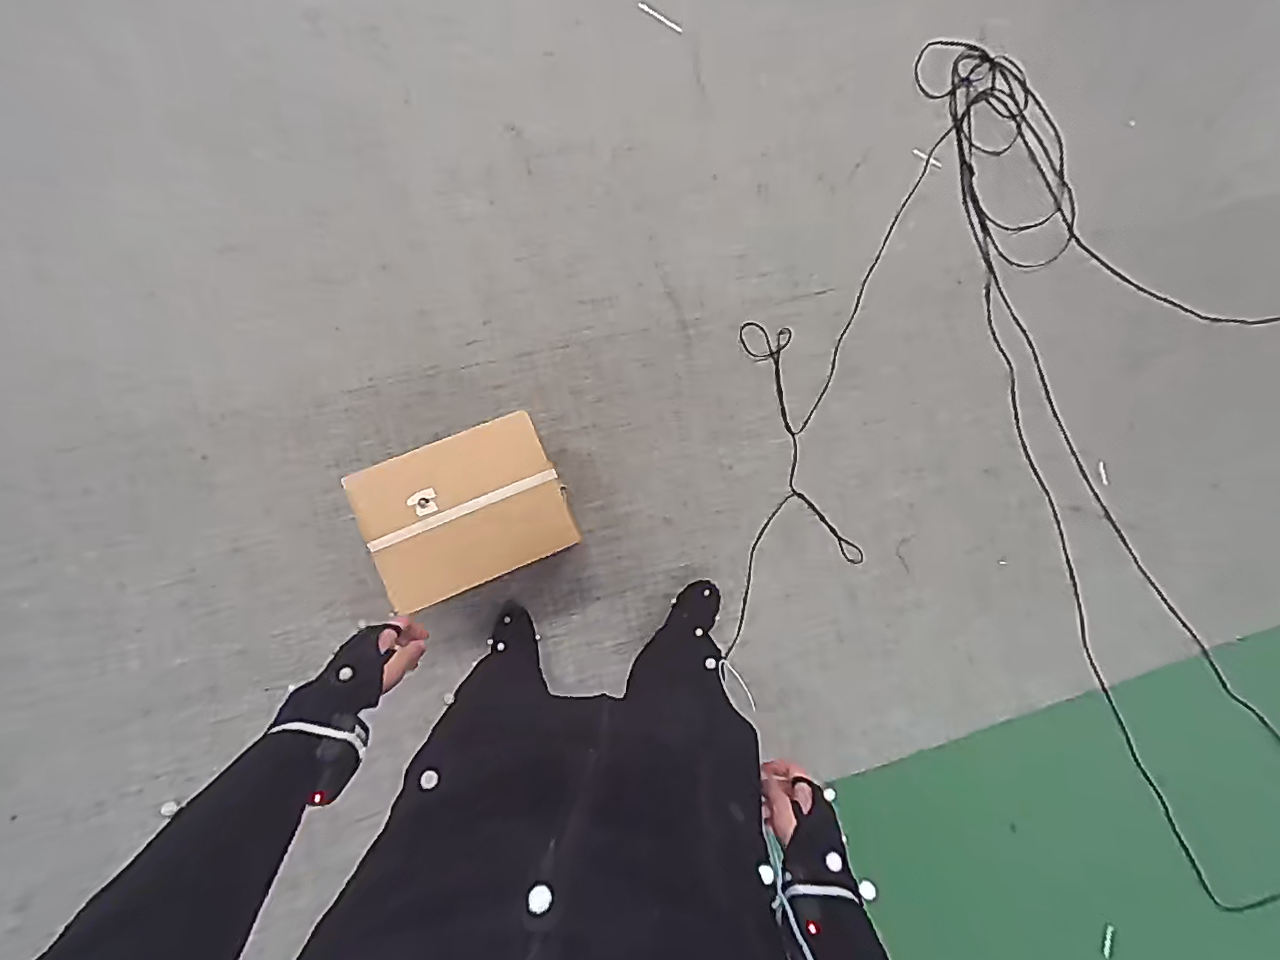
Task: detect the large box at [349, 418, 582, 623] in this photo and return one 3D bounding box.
[{"bbox_3d":[-0.380,0.091,1.286,0.408,0.320,0.320,-23,87,-7],"label":"large box"}]
